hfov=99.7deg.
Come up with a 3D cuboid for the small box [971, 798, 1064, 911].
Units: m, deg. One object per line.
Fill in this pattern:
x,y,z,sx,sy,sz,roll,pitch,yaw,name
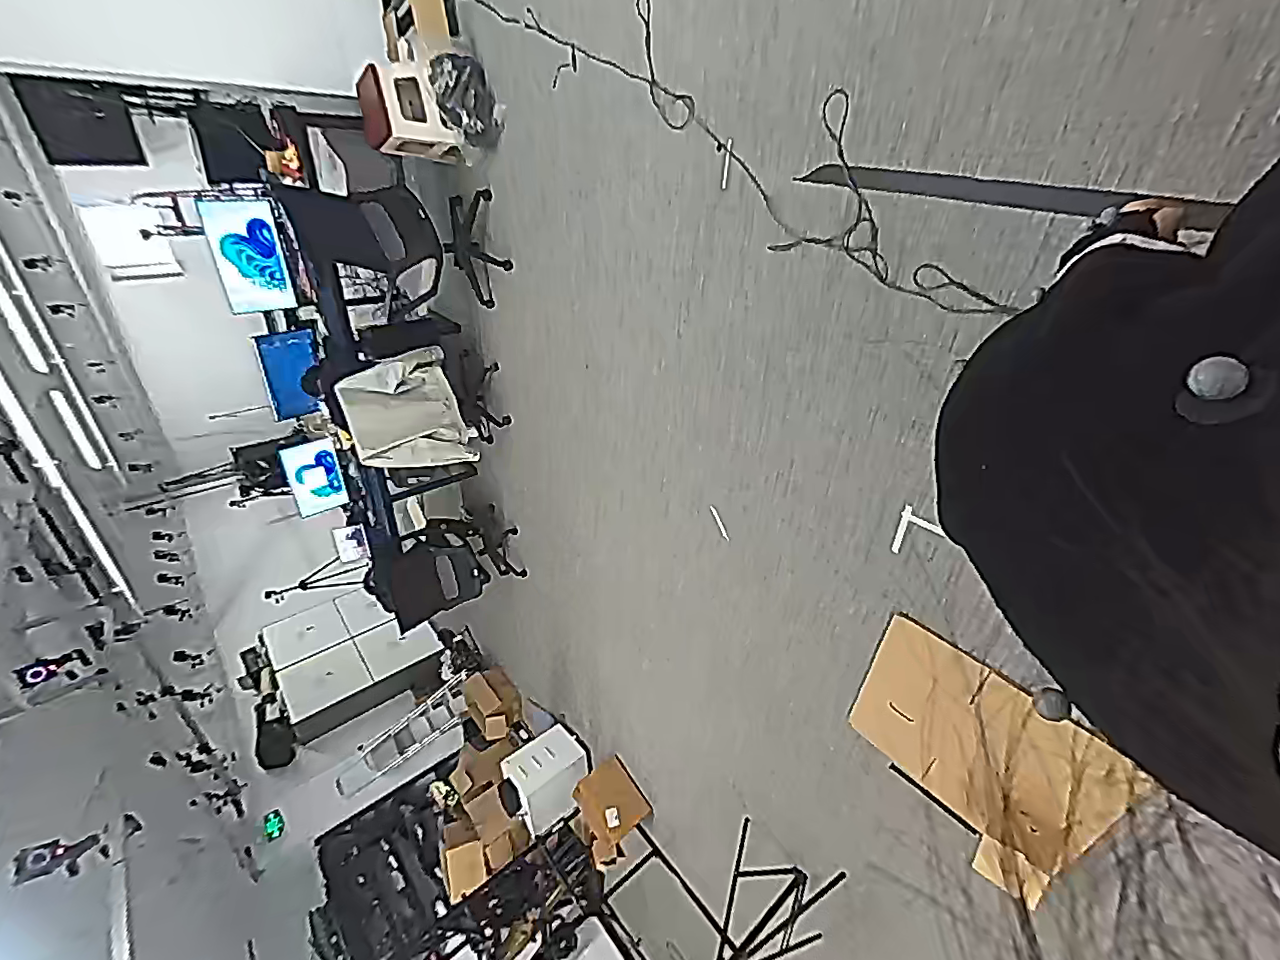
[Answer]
1.113,1.096,1.592,0.168,0.176,0.179,23,126,44,small box
